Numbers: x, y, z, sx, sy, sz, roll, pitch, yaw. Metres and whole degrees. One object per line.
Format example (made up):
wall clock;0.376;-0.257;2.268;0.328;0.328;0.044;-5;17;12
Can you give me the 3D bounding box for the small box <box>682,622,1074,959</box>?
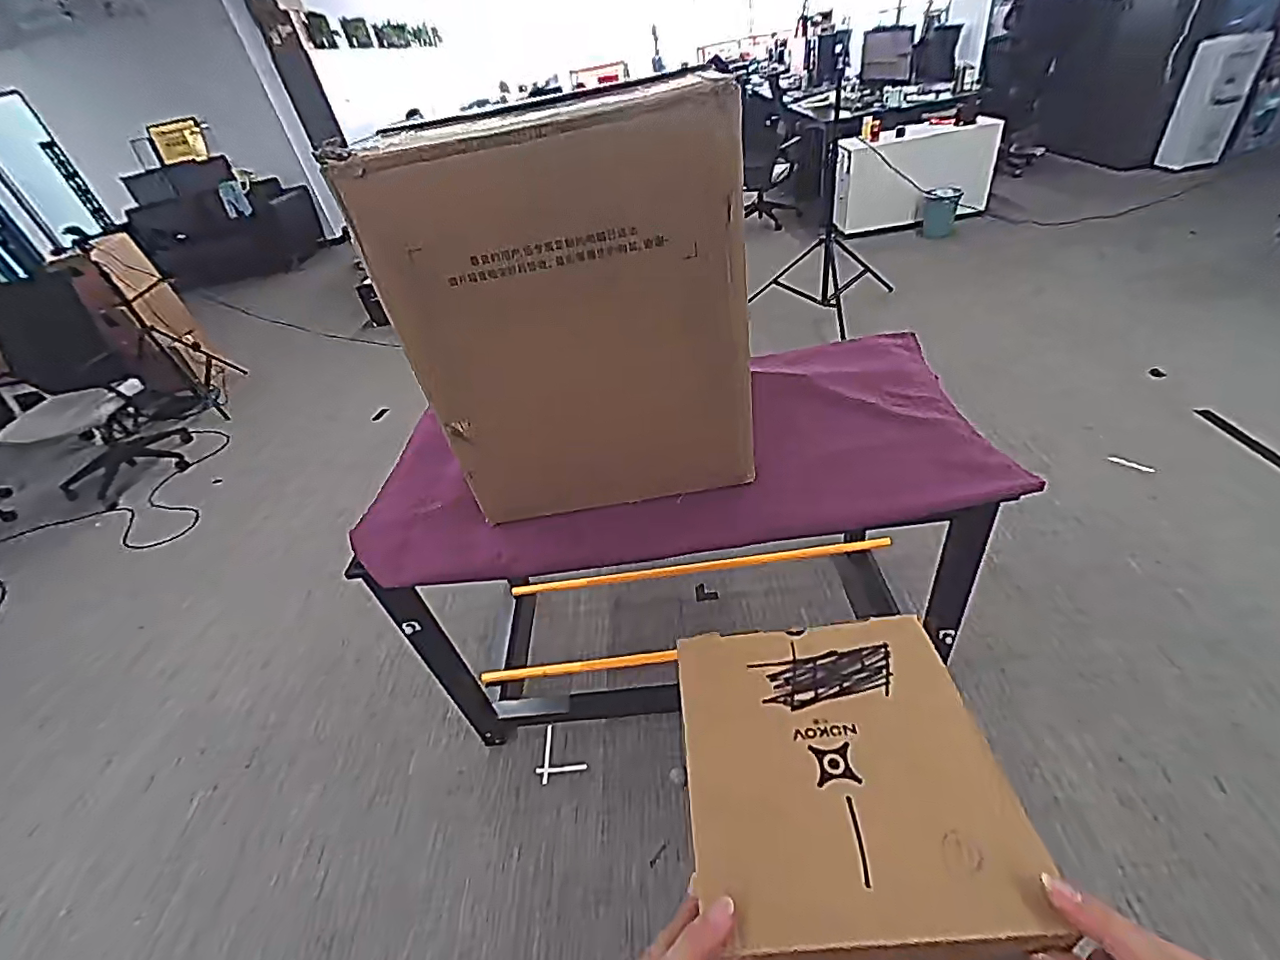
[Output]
small box;0.119;0.221;0.354;0.168;0.176;0.179;-7;35;5
